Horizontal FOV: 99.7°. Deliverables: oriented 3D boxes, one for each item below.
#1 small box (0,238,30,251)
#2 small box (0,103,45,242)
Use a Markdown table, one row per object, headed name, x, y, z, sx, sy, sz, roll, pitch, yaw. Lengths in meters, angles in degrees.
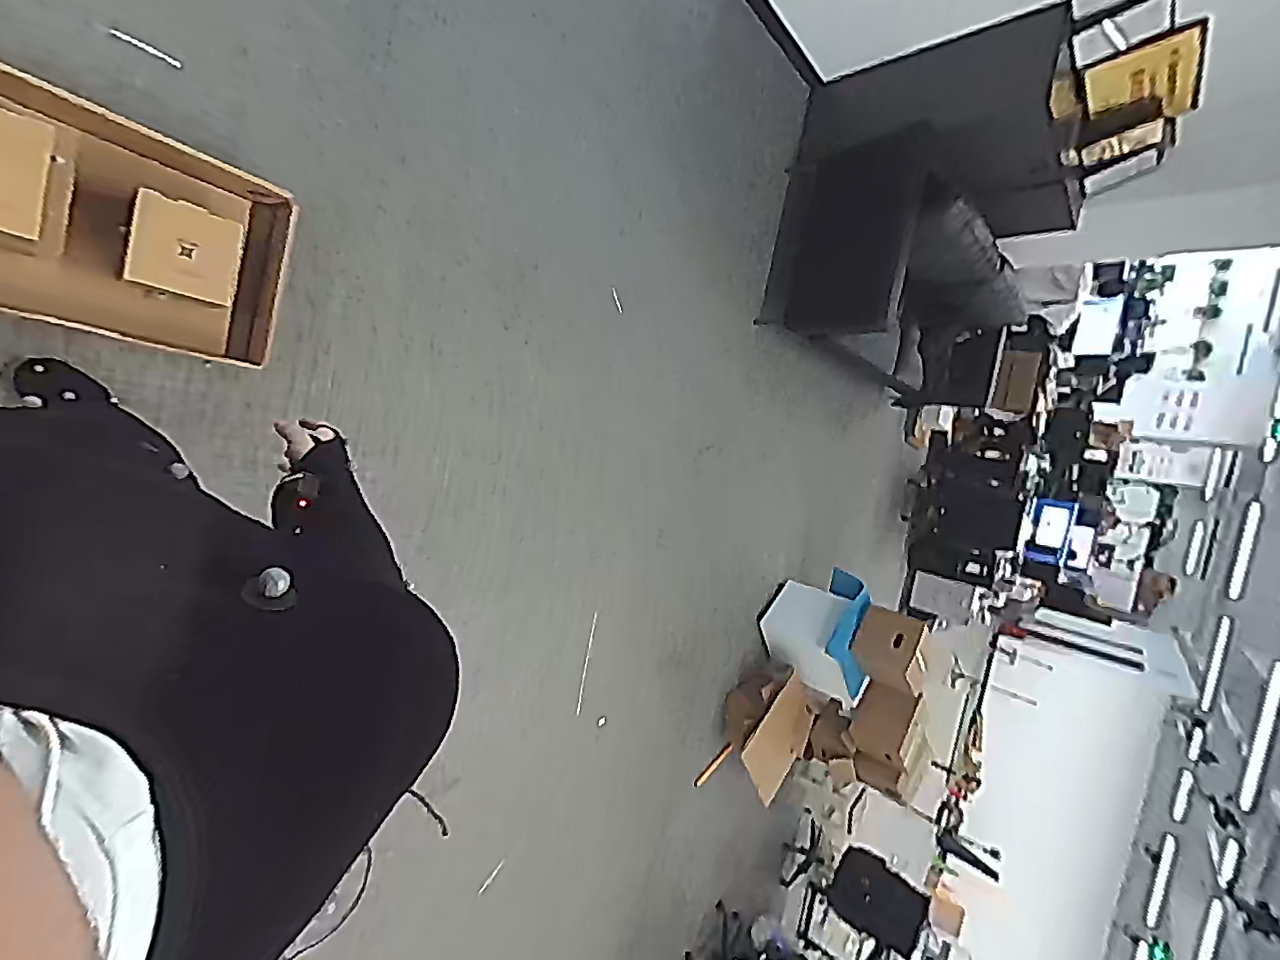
| name | x | y | z | sx | sy | sz | roll | pitch | yaw |
| --- | --- | --- | --- | --- | --- | --- | --- | --- | --- |
| small box | -1.136 | -0.504 | 0.905 | 0.168 | 0.176 | 0.179 | 10 | 93 | -49 |
| small box | -1.015 | -0.474 | 0.801 | 0.168 | 0.176 | 0.179 | 8 | 94 | -48 |
